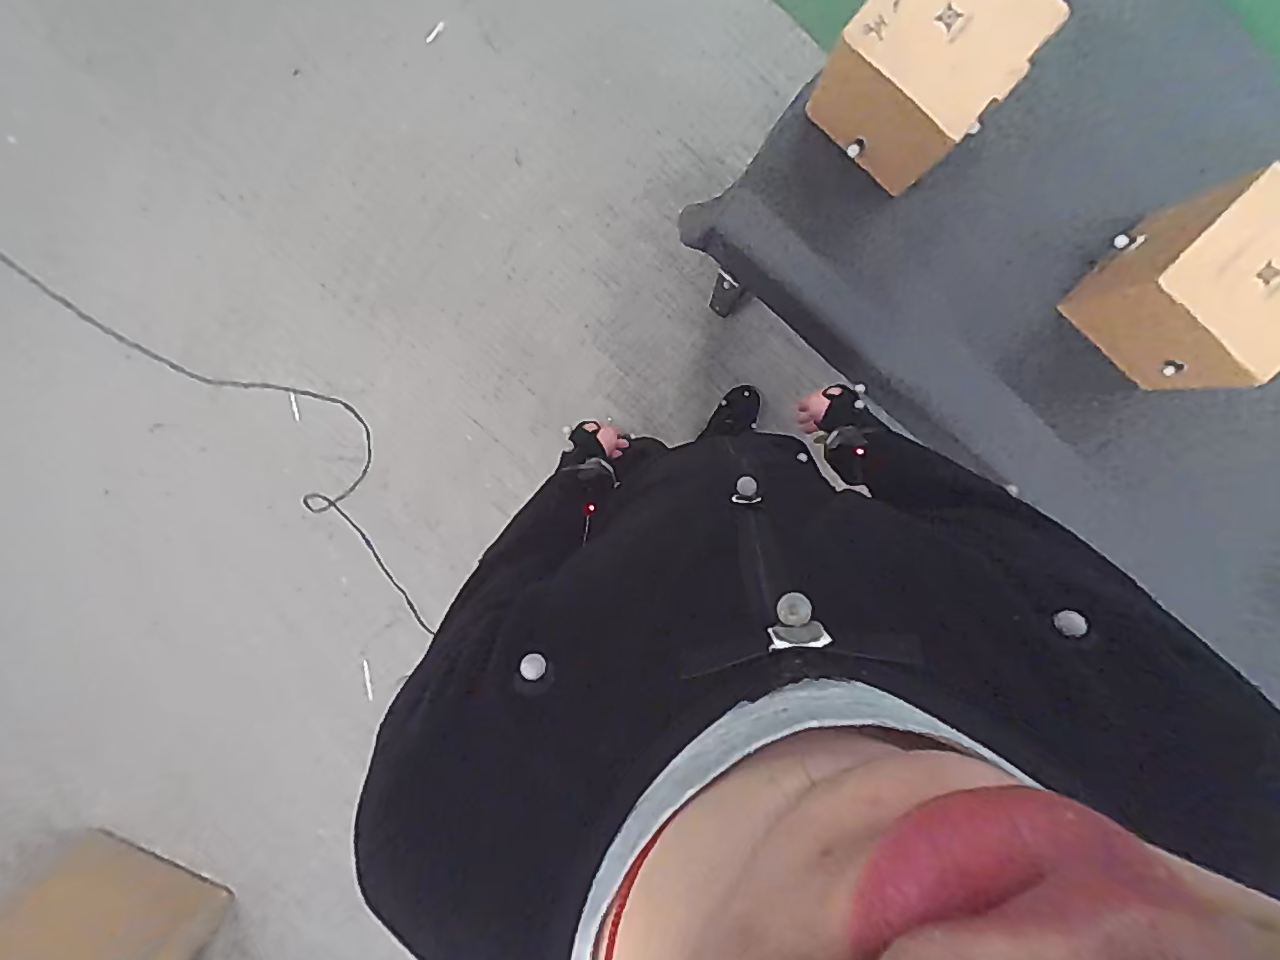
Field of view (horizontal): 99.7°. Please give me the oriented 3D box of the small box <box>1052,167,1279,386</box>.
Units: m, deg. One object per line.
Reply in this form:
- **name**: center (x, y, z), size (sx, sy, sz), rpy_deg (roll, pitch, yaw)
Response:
- **small box**: center (0.685, -0.235, 0.675), size (0.179, 0.176, 0.168), rpy_deg (41, 97, -3)

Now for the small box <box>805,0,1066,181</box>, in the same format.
- **small box**: center (0.332, -0.495, 0.647), size (0.179, 0.176, 0.168), rpy_deg (41, 98, -5)
